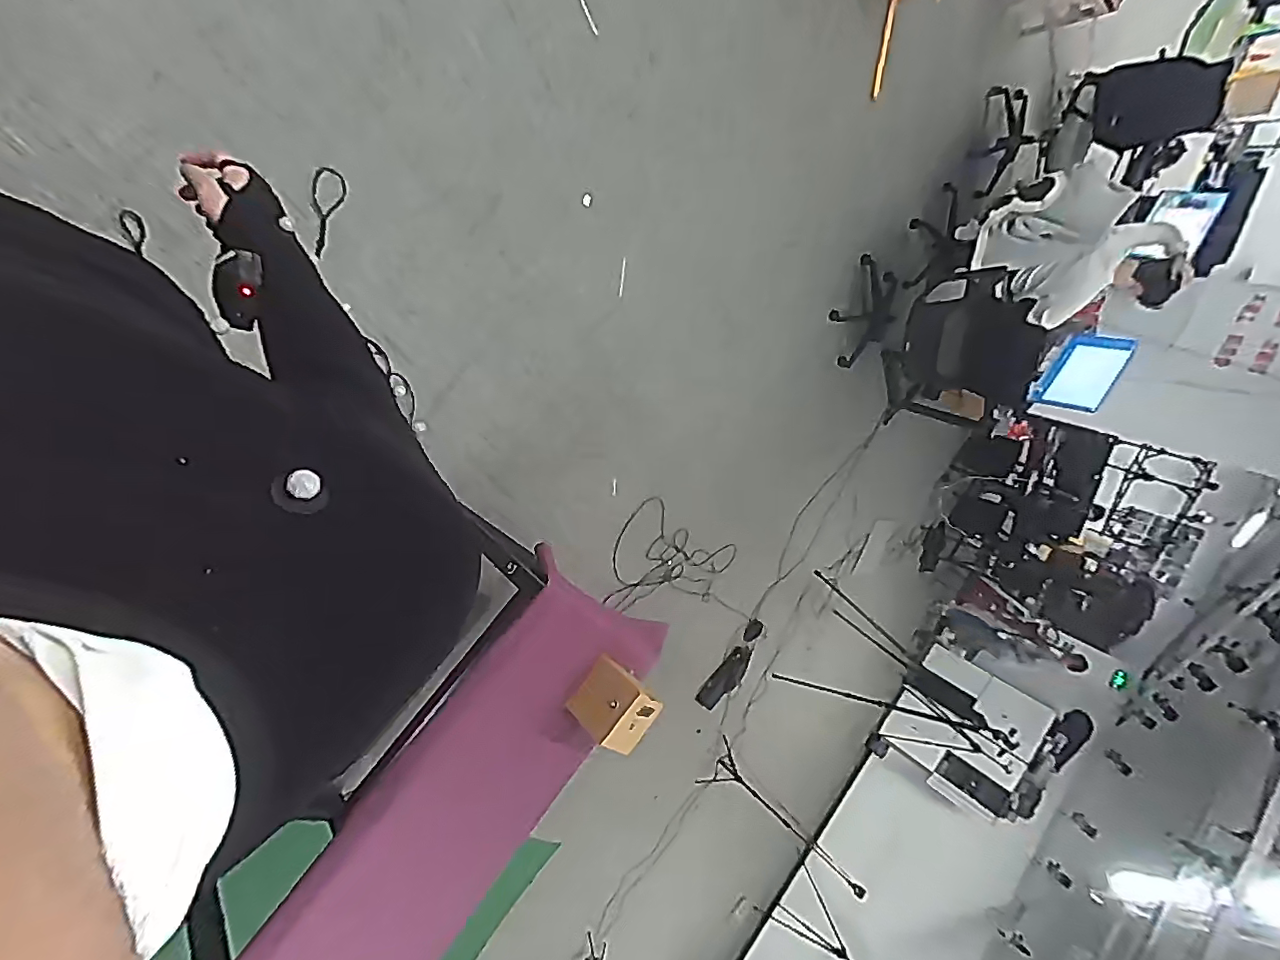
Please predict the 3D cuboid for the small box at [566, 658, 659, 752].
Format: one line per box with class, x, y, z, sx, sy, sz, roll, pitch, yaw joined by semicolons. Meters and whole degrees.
small box;-0.081;0.648;1.567;0.179;0.176;0.168;-50;139;-10
